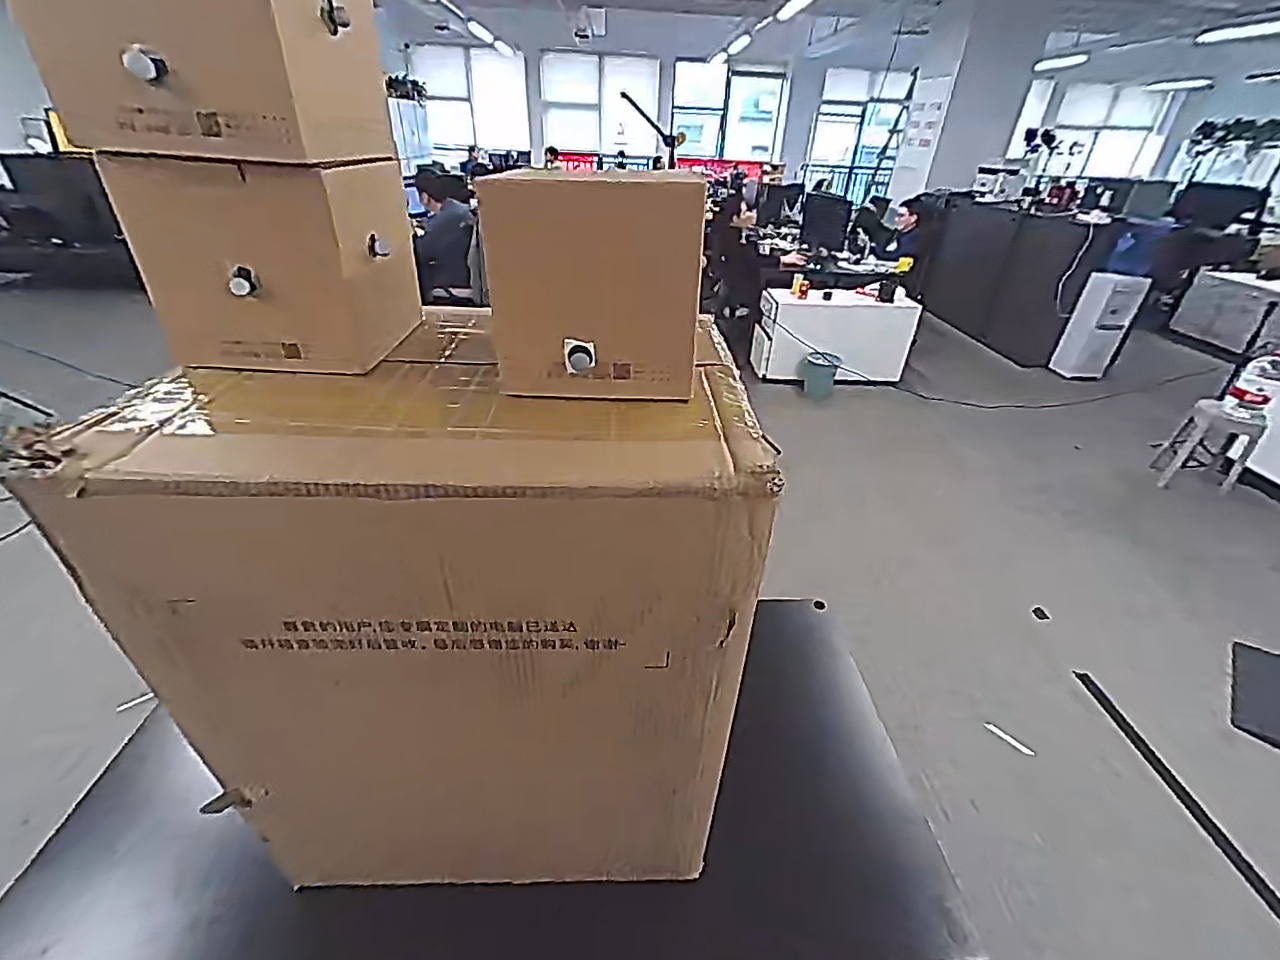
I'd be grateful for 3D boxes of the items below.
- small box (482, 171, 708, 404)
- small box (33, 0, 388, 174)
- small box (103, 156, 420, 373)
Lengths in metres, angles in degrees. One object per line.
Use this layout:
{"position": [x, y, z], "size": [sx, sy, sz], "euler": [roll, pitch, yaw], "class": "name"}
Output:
{"position": [-0.033, -0.181, 0.495], "size": [0.168, 0.176, 0.179], "euler": [0, 33, 0], "class": "small box"}
{"position": [-0.313, -0.341, 0.415], "size": [0.168, 0.176, 0.179], "euler": [2, 33, -2], "class": "small box"}
{"position": [-0.326, -0.211, 0.518], "size": [0.168, 0.176, 0.179], "euler": [2, 33, -4], "class": "small box"}
